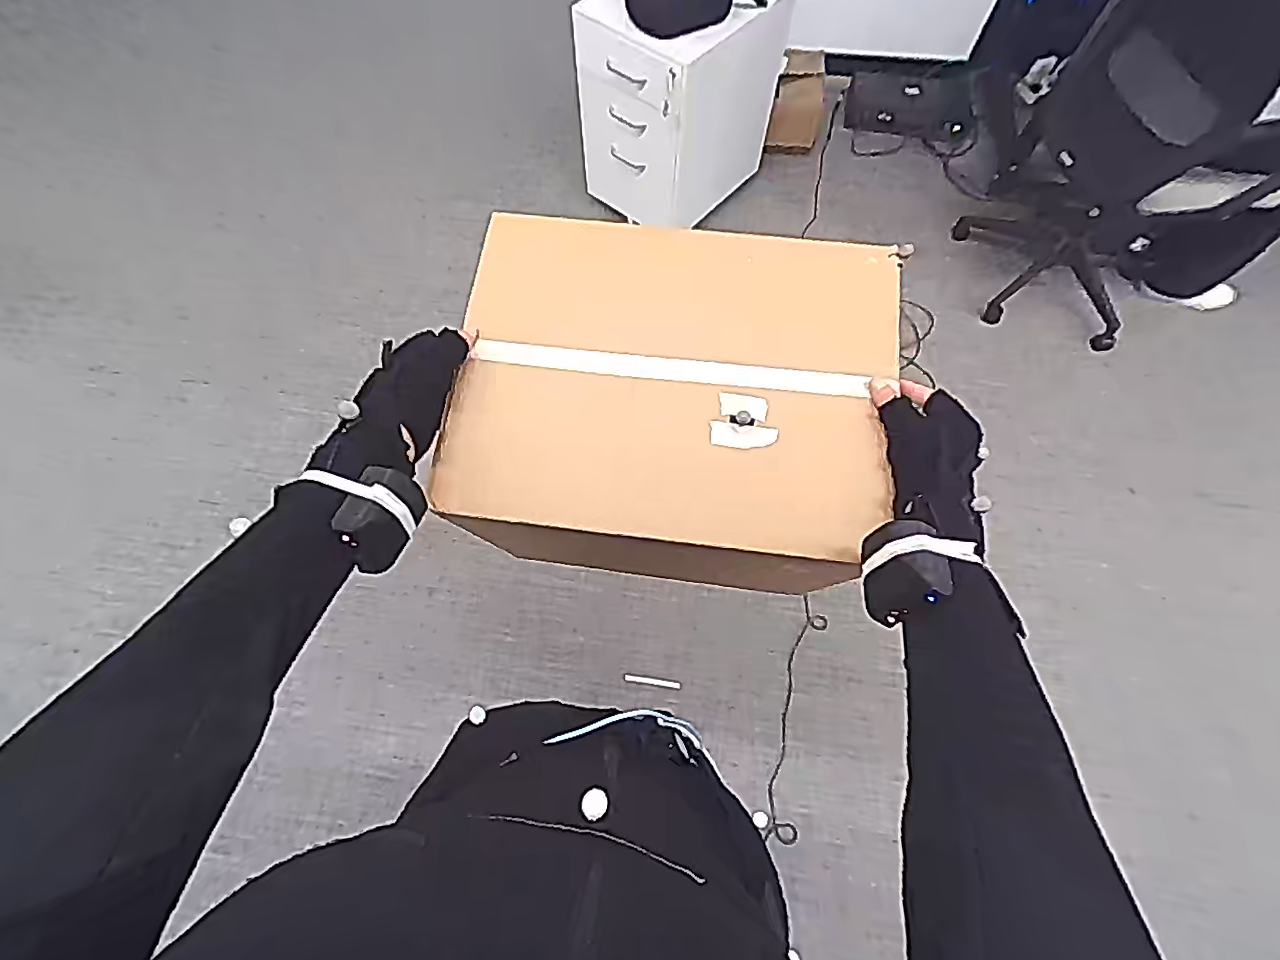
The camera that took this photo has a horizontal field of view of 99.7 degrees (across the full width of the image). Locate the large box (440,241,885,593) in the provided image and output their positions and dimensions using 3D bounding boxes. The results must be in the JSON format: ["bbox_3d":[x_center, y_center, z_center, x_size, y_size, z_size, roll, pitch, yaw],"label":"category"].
[{"bbox_3d":[0.032,-0.047,0.660,0.408,0.320,0.320,6,75,3],"label":"large box"}]
